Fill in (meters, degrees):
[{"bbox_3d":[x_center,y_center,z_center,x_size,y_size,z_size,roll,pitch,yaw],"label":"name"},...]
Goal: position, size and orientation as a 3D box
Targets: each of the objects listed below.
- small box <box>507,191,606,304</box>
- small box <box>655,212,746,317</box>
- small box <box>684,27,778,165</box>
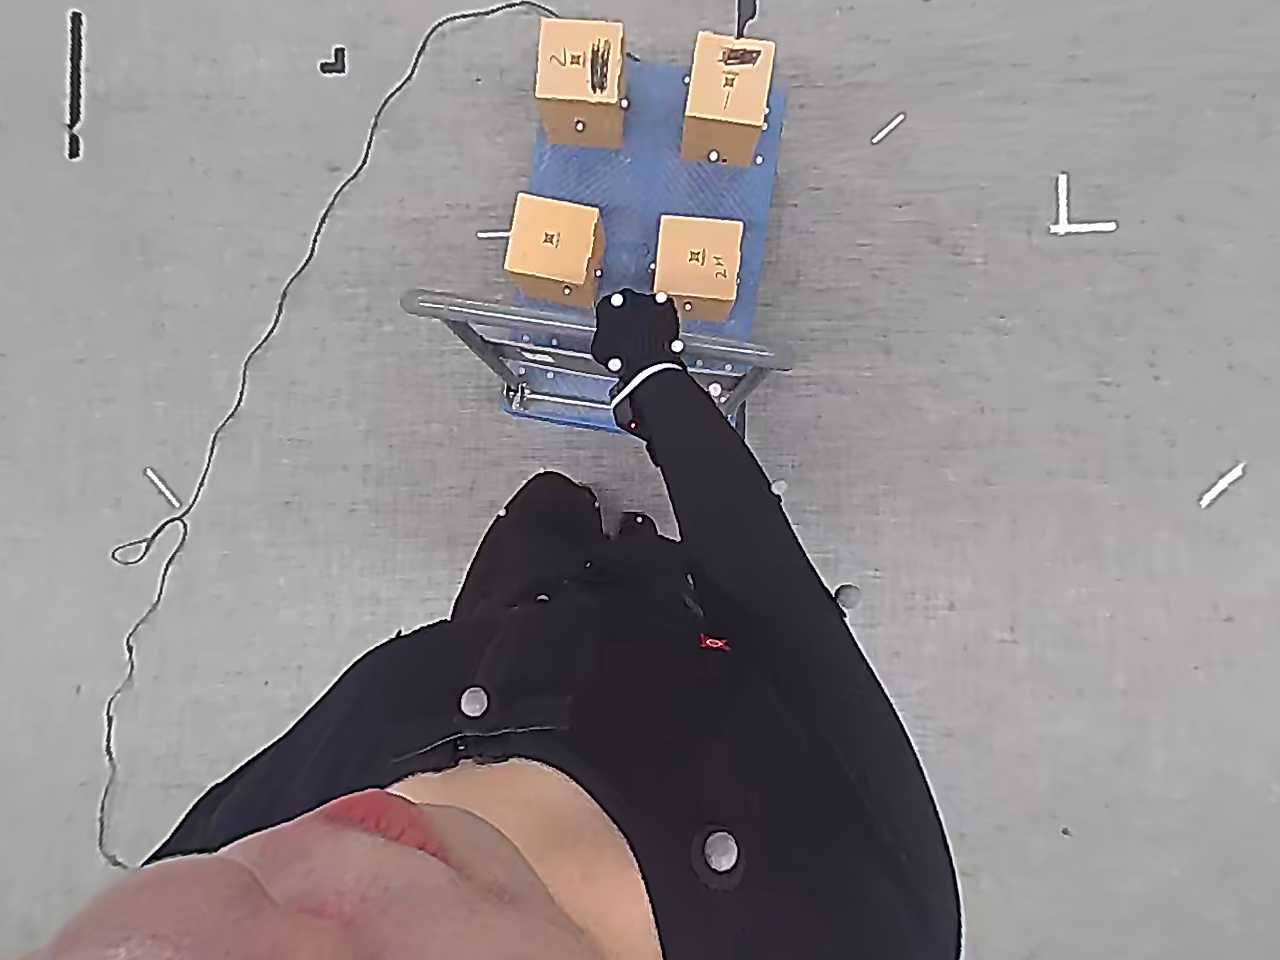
[{"bbox_3d":[-0.180,-0.511,1.211,0.179,0.176,0.168,11,91,-1],"label":"small box"},{"bbox_3d":[0.128,-0.471,1.205,0.179,0.176,0.168,6,92,1],"label":"small box"},{"bbox_3d":[0.193,-0.839,1.196,0.168,0.176,0.179,9,93,1],"label":"small box"}]
